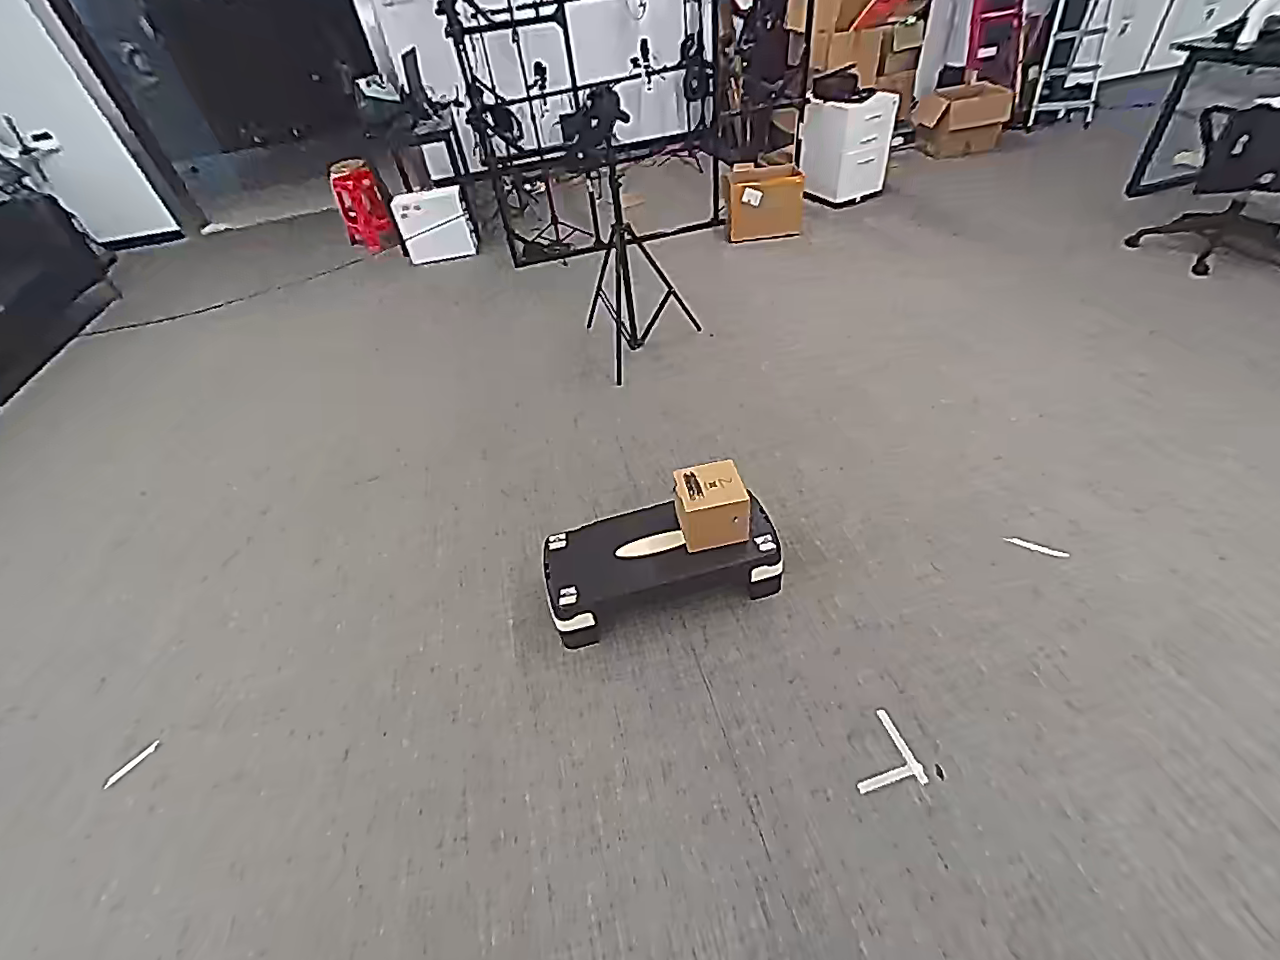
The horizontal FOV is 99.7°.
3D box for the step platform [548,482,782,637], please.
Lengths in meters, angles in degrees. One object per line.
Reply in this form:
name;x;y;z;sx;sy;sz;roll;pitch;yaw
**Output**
step platform;0.069;0.228;1.623;0.684;0.204;0.286;-15;43;-5
